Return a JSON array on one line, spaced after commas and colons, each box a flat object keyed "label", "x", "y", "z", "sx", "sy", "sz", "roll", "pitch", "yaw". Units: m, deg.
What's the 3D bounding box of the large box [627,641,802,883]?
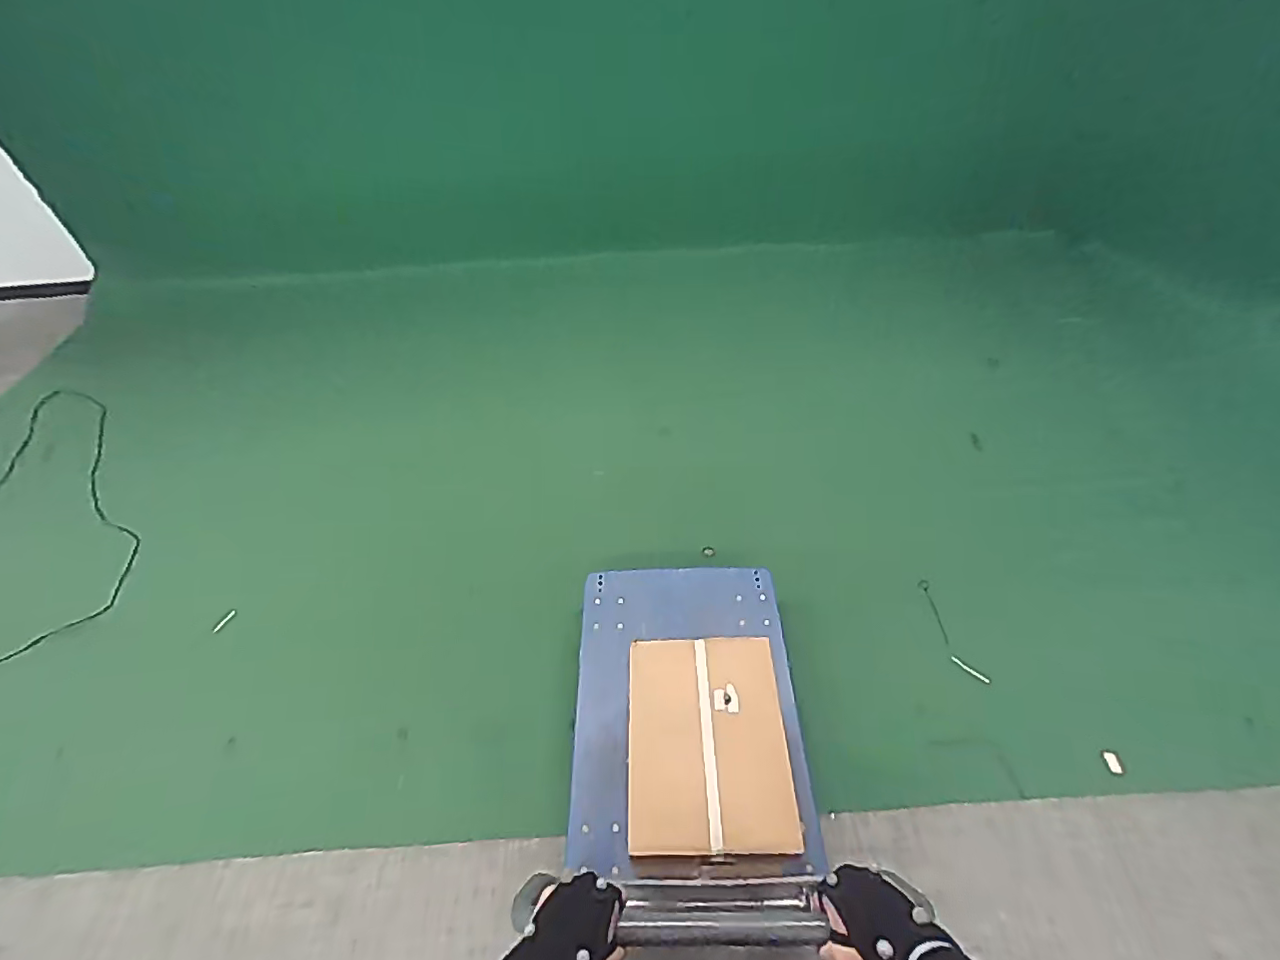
[{"label": "large box", "x": 0.138, "y": 0.617, "z": 1.191, "sx": 0.320, "sy": 0.320, "sz": 0.408, "roll": -2, "pitch": 47, "yaw": 1}]
